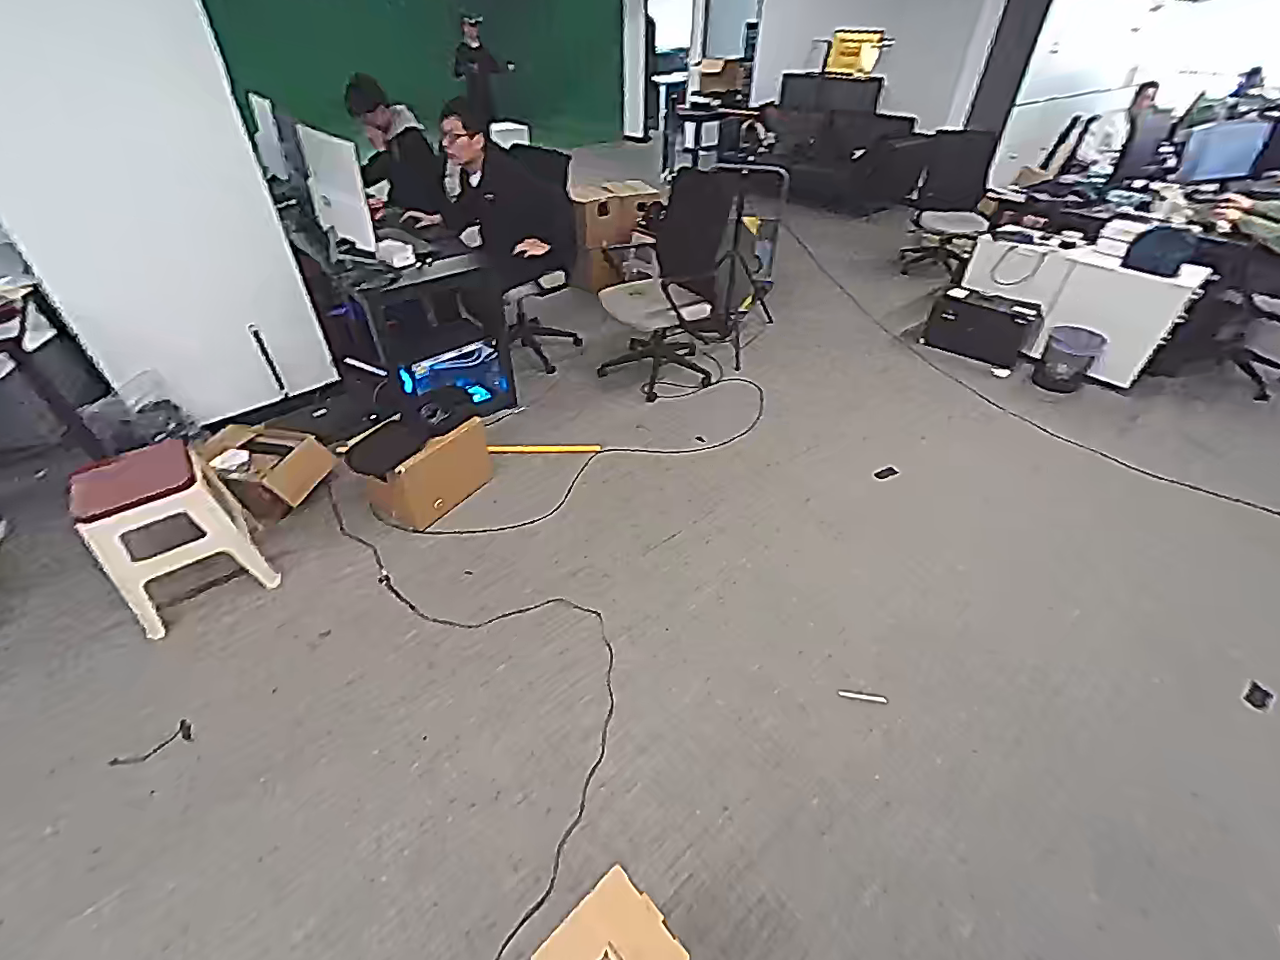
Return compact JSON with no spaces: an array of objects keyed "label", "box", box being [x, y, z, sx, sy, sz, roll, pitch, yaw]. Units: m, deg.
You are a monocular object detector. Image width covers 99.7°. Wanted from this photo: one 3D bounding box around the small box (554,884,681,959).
[{"label":"small box","box":[-0.046,0.878,0.953,0.168,0.176,0.179,32,47,30]}]
